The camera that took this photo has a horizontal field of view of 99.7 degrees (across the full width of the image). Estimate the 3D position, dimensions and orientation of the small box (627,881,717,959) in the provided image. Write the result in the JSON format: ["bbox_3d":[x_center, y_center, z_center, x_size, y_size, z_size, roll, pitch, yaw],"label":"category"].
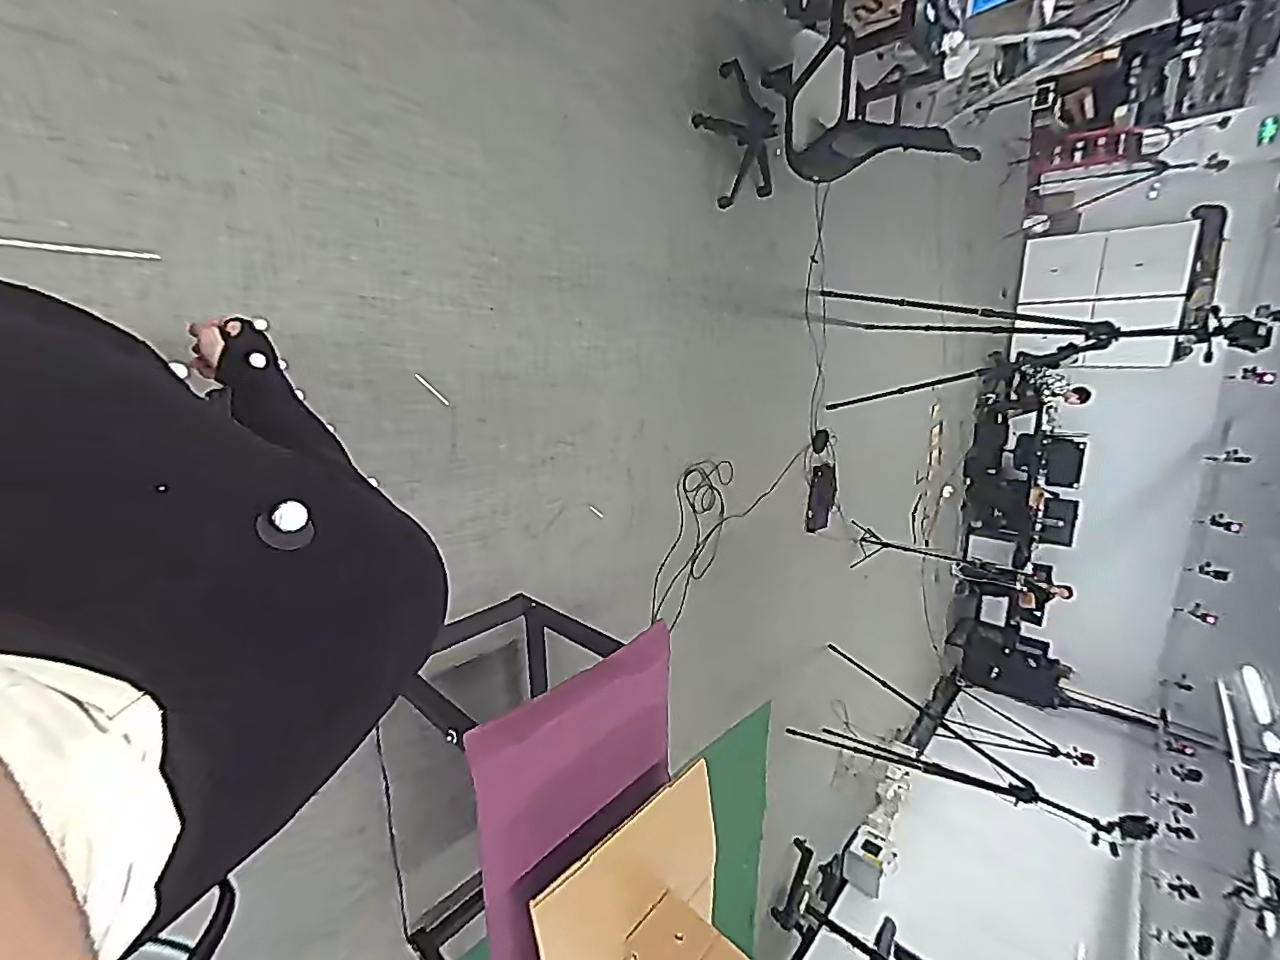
[{"bbox_3d":[0.080,1.207,1.399,0.179,0.176,0.168,-18,115,-45],"label":"small box"}]
